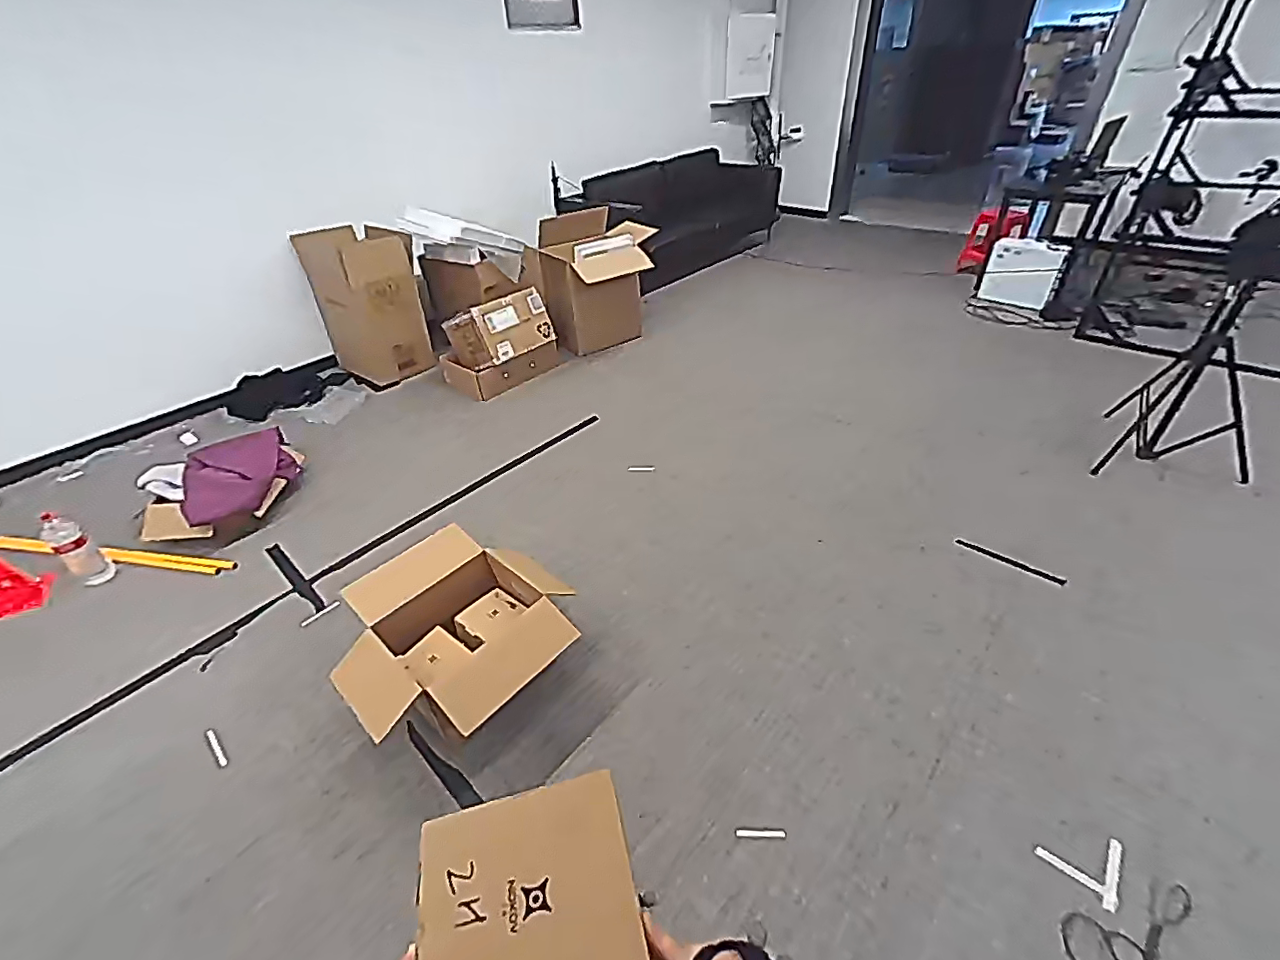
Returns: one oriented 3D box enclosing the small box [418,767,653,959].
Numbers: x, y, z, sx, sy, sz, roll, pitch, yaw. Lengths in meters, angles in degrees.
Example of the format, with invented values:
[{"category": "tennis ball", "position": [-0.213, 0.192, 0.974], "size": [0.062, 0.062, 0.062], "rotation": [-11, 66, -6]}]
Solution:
[{"category": "small box", "position": [-0.087, 0.399, 0.493], "size": [0.179, 0.176, 0.168], "rotation": [-13, 40, -8]}]
